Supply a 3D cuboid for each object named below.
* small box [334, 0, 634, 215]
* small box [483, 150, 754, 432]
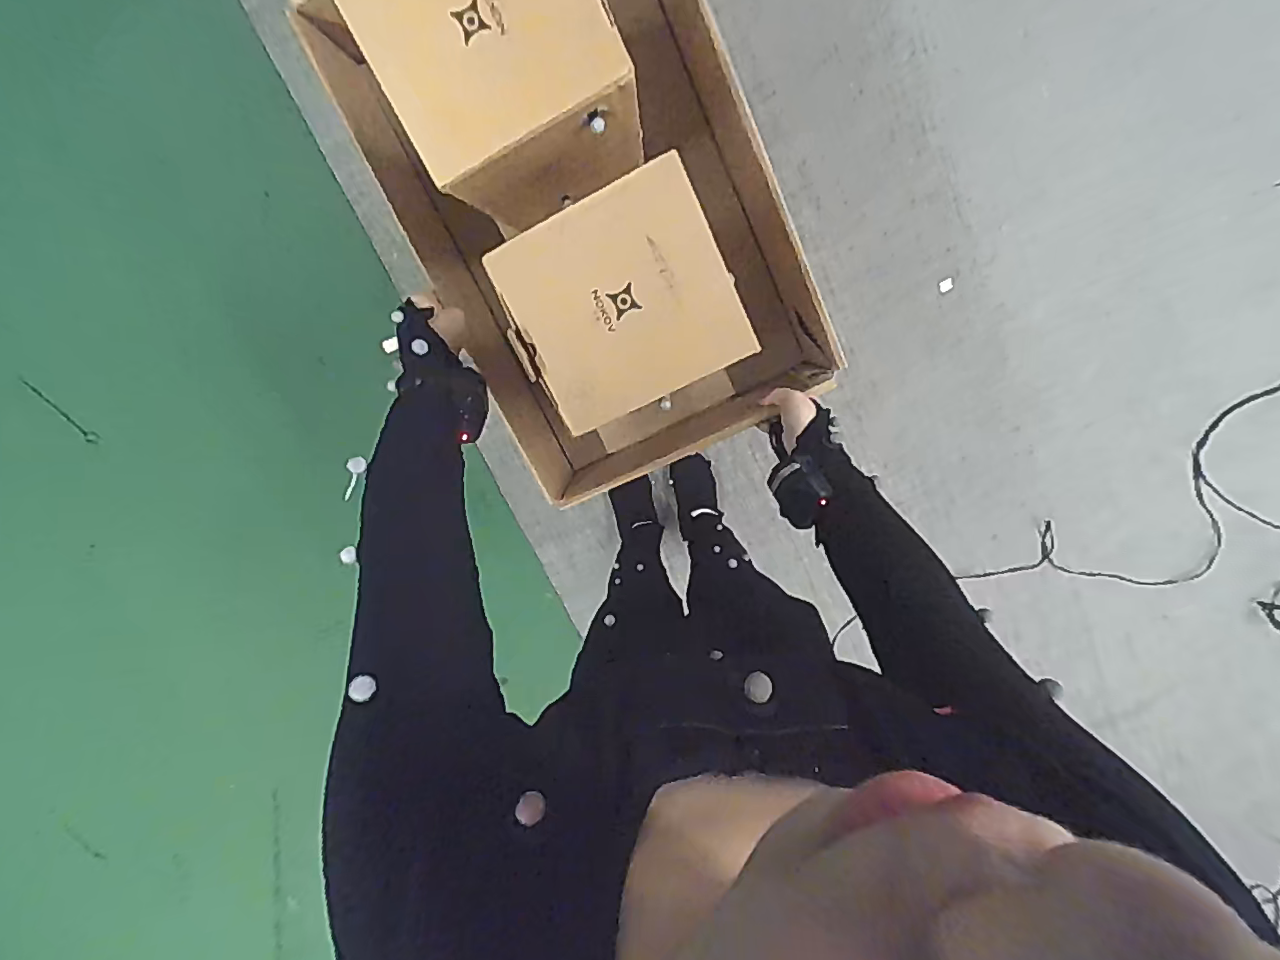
[{"bbox_3d":[-0.116,-0.358,0.469,0.179,0.176,0.168,-26,104,9],"label":"small box"},{"bbox_3d":[-0.011,-0.163,0.513,0.179,0.176,0.168,-25,101,9],"label":"small box"}]
